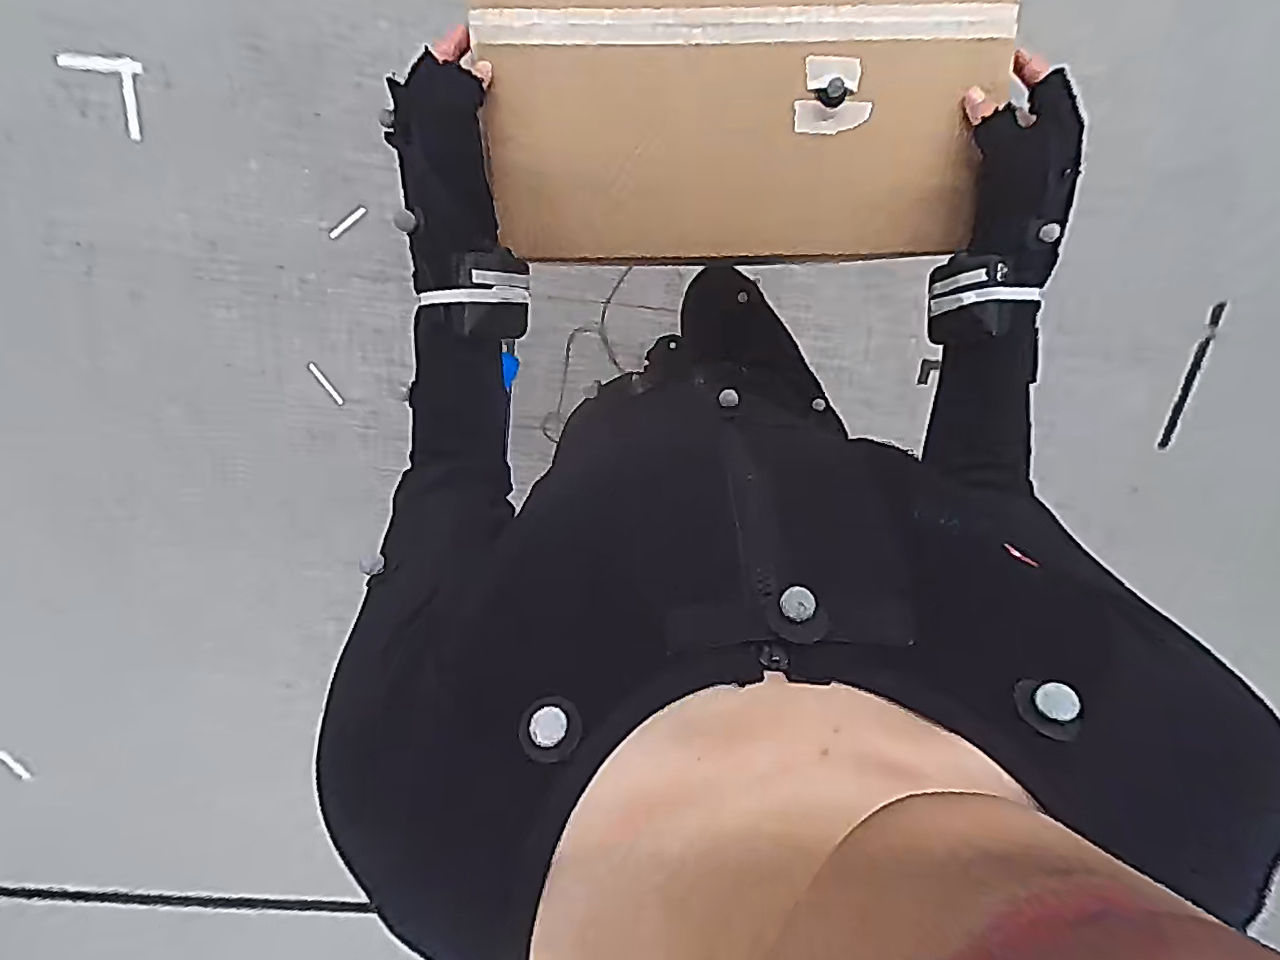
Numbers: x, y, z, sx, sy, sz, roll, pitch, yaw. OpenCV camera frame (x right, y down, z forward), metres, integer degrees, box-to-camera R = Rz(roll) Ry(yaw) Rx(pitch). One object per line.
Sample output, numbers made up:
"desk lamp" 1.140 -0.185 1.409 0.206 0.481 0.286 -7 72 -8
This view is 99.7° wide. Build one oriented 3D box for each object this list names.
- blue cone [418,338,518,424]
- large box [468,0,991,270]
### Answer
"blue cone" -0.427 -0.216 1.258 0.193 0.380 0.192 27 103 -8
"large box" 0.064 -0.394 0.553 0.408 0.320 0.320 -2 110 -1
